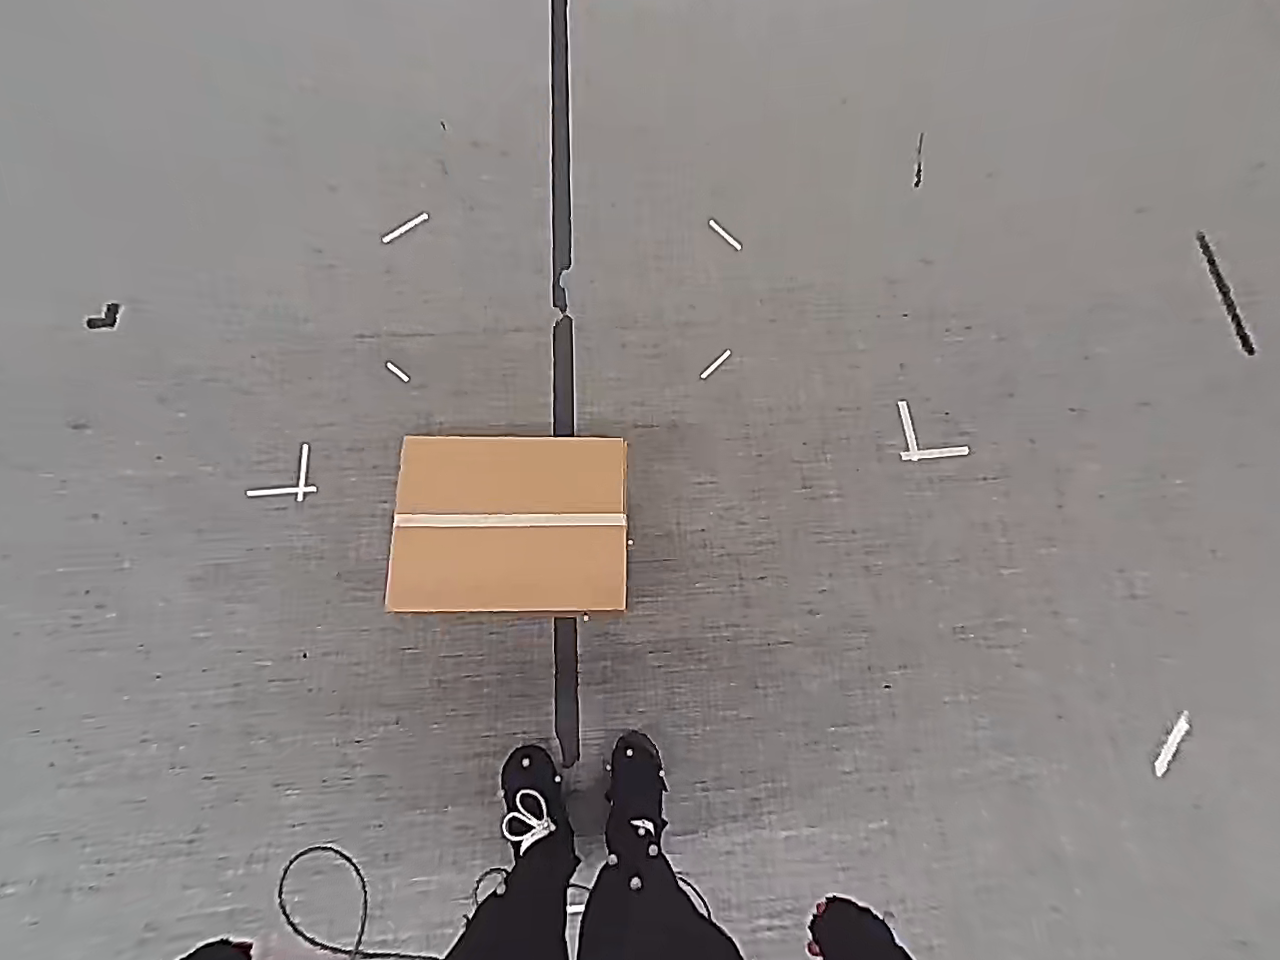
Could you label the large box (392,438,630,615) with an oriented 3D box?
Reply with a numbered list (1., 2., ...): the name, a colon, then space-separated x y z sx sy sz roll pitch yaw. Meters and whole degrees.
1. large box: -0.227 0.110 1.096 0.408 0.320 0.320 0 74 -3
